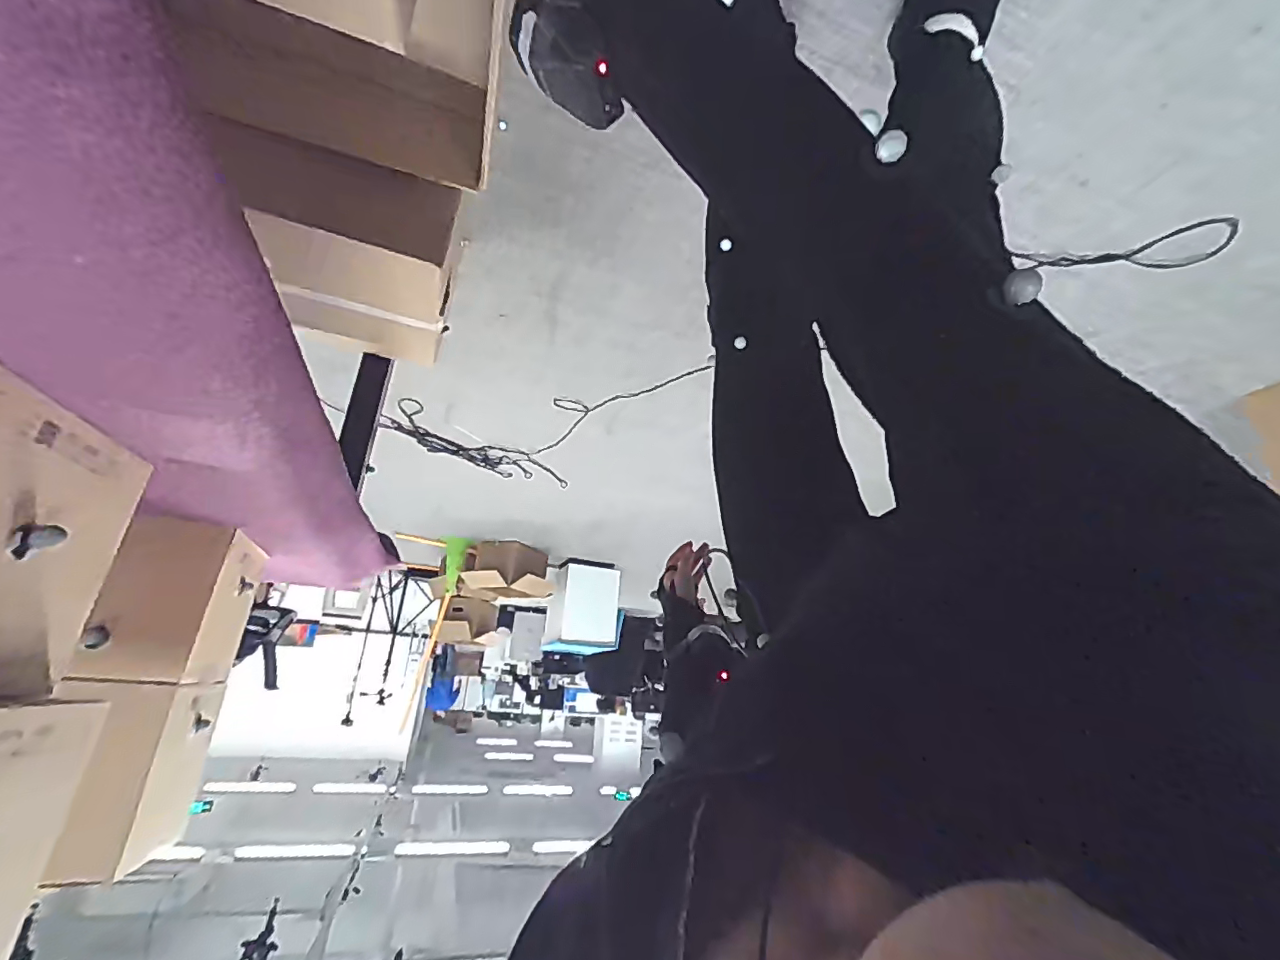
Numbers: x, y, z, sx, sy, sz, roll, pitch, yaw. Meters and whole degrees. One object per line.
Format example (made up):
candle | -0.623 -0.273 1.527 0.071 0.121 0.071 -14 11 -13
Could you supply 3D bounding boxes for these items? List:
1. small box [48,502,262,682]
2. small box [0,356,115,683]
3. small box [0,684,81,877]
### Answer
small box | -0.557 0.125 0.595 0.179 0.176 0.168 11 157 -19
small box | -0.434 0.012 0.281 0.179 0.176 0.168 10 158 -14
small box | -0.426 0.172 0.233 0.179 0.176 0.168 8 159 -8
